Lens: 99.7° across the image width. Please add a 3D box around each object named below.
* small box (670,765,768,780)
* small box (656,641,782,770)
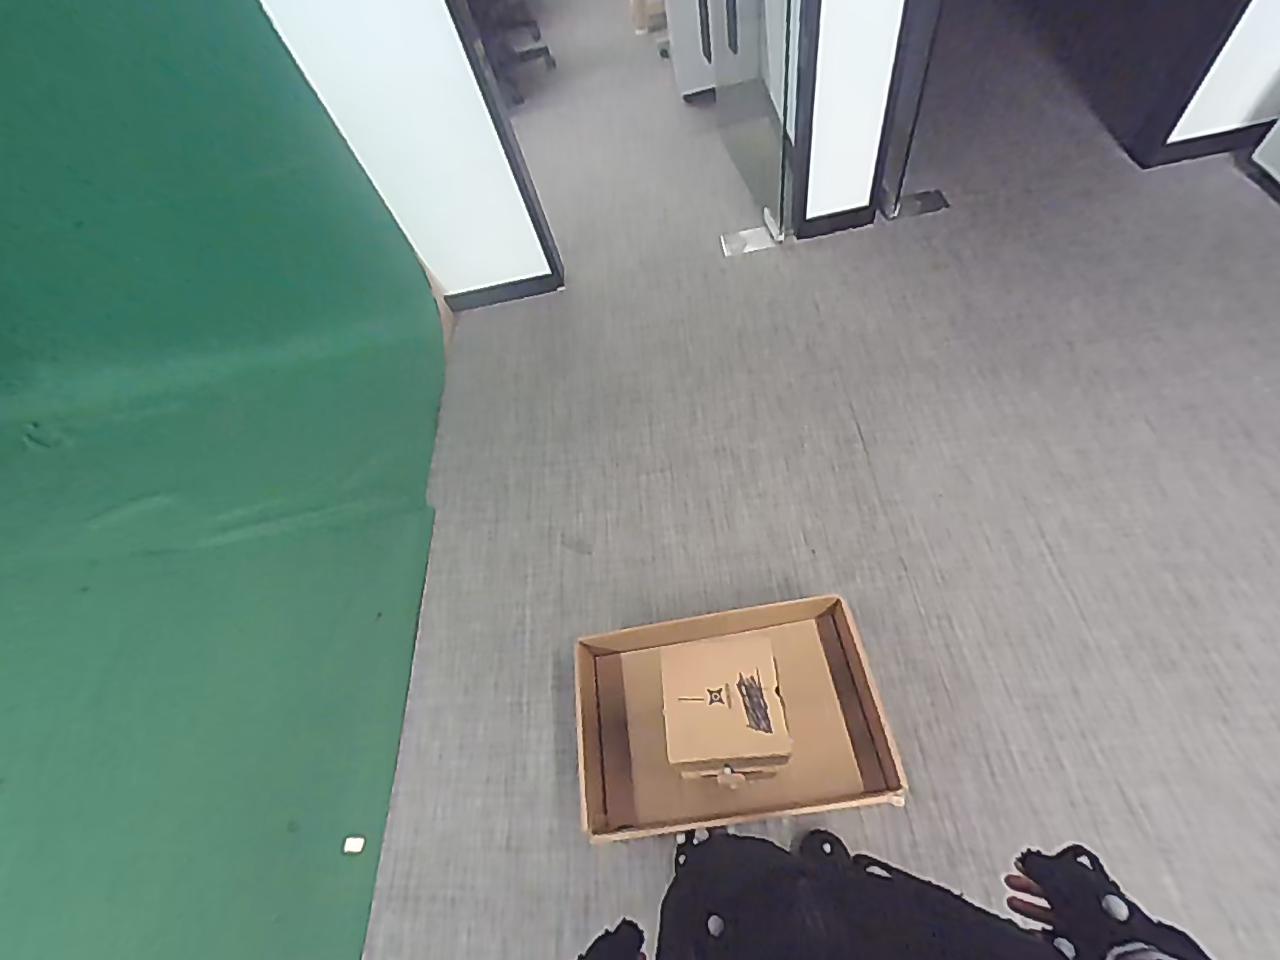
[{"bbox_3d":[0.142,0.455,1.003,0.168,0.176,0.179,-7,58,6],"label":"small box"},{"bbox_3d":[0.126,0.372,0.880,0.179,0.176,0.168,-7,56,7],"label":"small box"}]
